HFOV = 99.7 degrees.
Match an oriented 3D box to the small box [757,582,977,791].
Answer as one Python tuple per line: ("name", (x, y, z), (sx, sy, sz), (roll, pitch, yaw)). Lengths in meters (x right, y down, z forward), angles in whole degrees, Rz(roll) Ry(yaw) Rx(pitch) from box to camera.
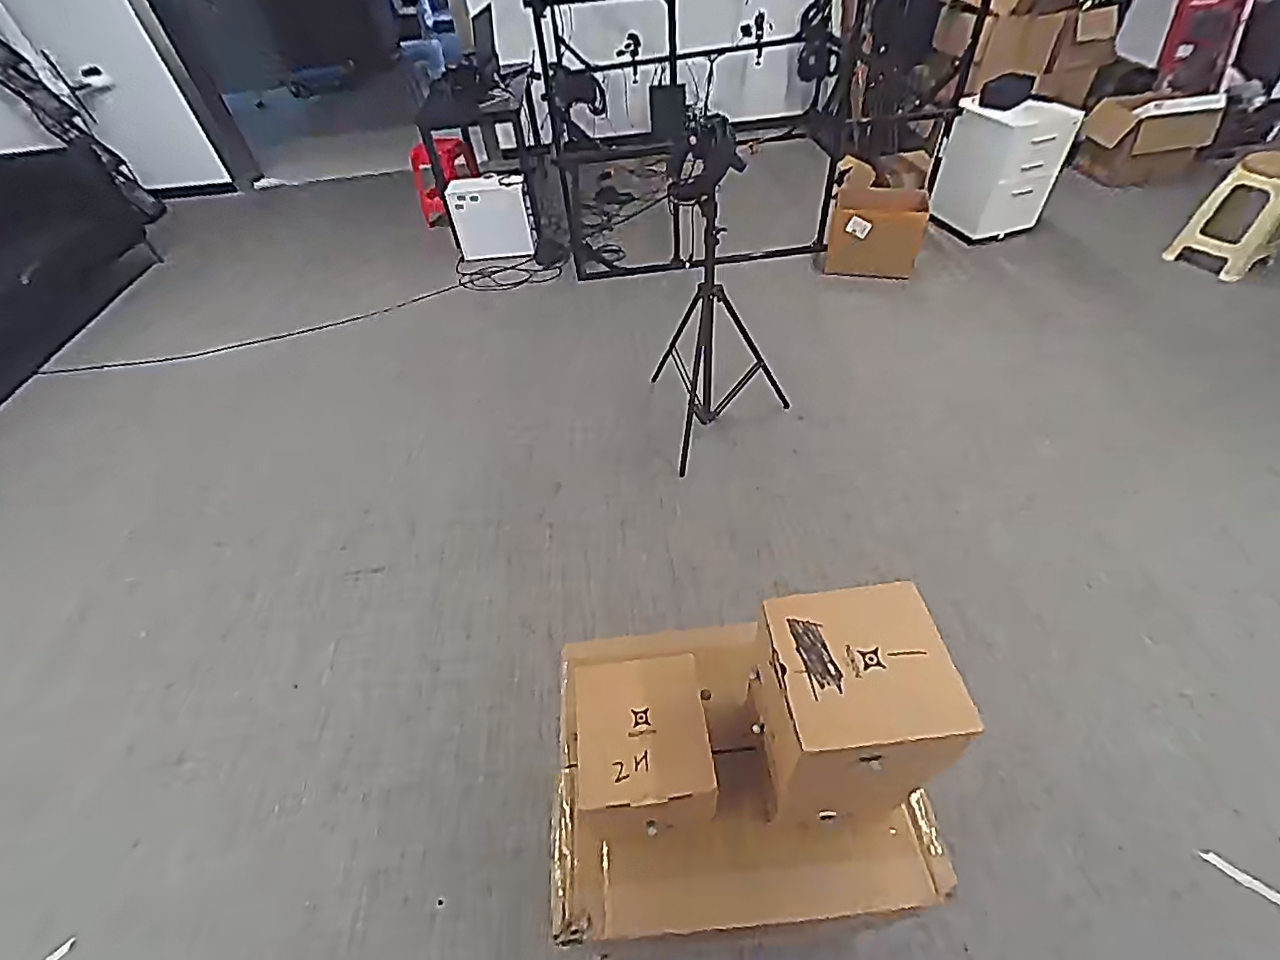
("small box", (0.236, 0.241, 0.621), (0.179, 0.176, 0.168), (-7, 47, 1))

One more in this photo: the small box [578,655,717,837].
("small box", (0.007, 0.369, 0.750), (0.168, 0.176, 0.179), (-7, 47, -2))

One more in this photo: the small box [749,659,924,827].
("small box", (0.250, 0.352, 0.743), (0.168, 0.176, 0.179), (-9, 48, 1))
